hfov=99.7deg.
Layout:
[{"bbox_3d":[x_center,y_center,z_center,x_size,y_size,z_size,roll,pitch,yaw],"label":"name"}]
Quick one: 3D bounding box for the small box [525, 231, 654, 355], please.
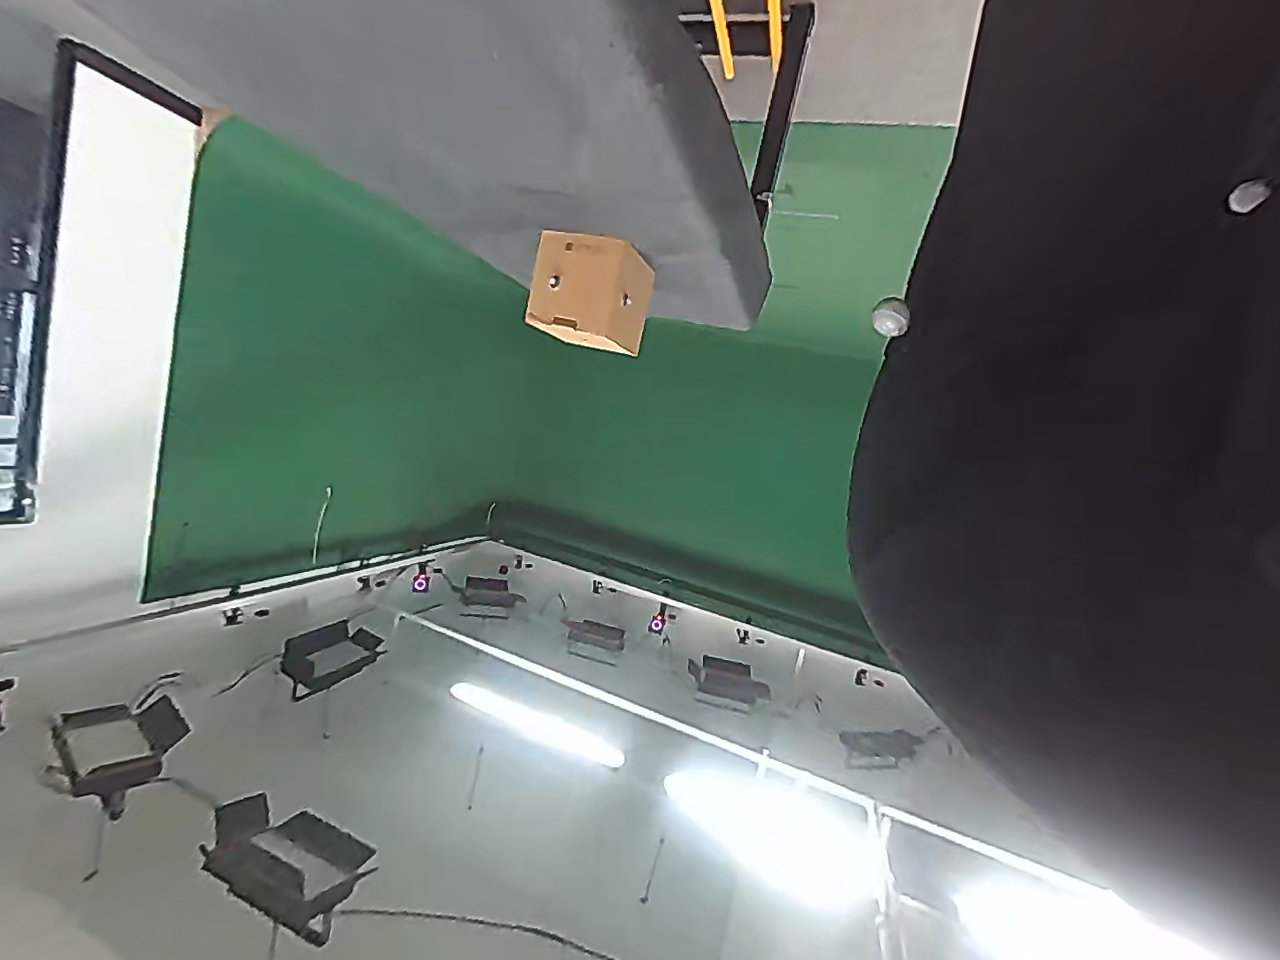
[{"bbox_3d":[-0.089,-0.346,1.010,0.168,0.176,0.179,16,-173,17],"label":"small box"}]
